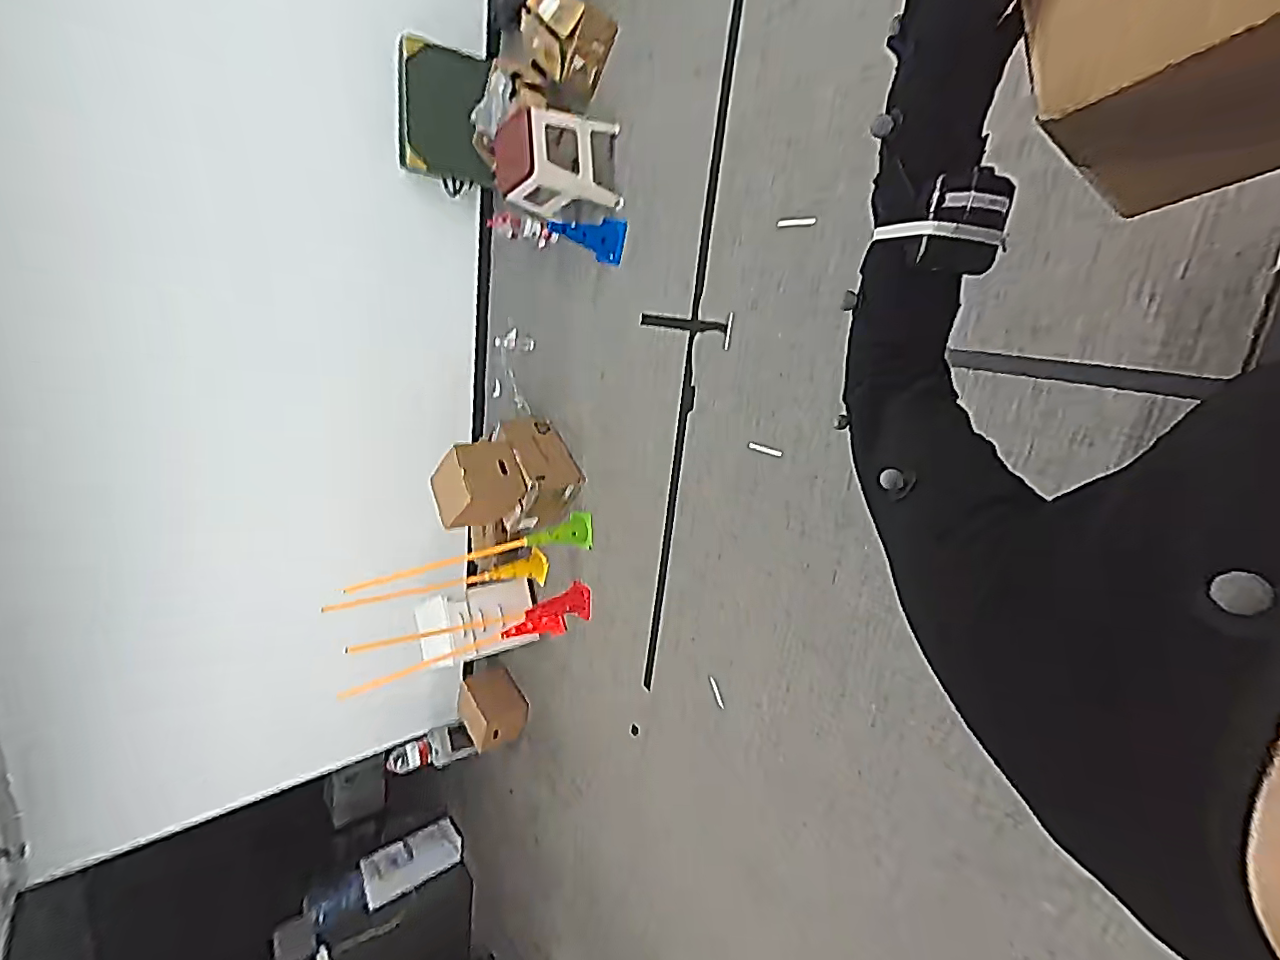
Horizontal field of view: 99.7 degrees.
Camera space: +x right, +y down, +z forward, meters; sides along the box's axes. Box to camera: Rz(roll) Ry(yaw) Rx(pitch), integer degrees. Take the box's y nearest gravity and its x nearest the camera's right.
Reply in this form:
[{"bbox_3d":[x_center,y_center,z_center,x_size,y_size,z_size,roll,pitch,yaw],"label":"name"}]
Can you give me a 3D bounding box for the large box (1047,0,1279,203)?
[{"bbox_3d":[0.495,-0.428,0.303,0.408,0.320,0.320,-6,92,49],"label":"large box"}]
